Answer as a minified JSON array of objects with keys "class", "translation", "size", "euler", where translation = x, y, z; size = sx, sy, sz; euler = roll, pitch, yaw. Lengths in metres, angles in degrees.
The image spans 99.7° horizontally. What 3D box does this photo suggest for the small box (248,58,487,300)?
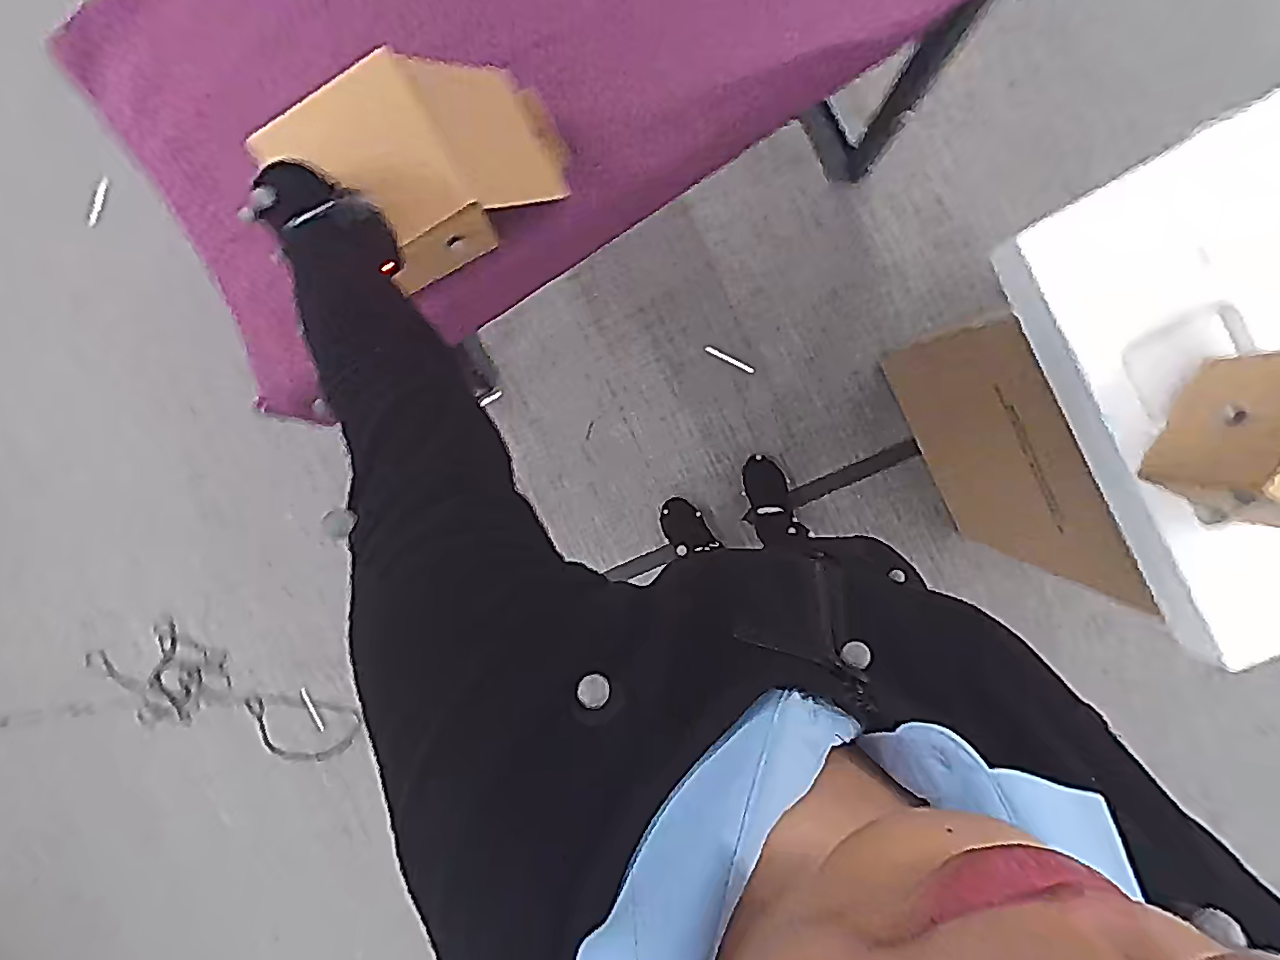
[{"class":"small box","translation":[-0.301,-0.340,0.650],"size":[0.179,0.176,0.168],"euler":[-30,101,-1]}]
